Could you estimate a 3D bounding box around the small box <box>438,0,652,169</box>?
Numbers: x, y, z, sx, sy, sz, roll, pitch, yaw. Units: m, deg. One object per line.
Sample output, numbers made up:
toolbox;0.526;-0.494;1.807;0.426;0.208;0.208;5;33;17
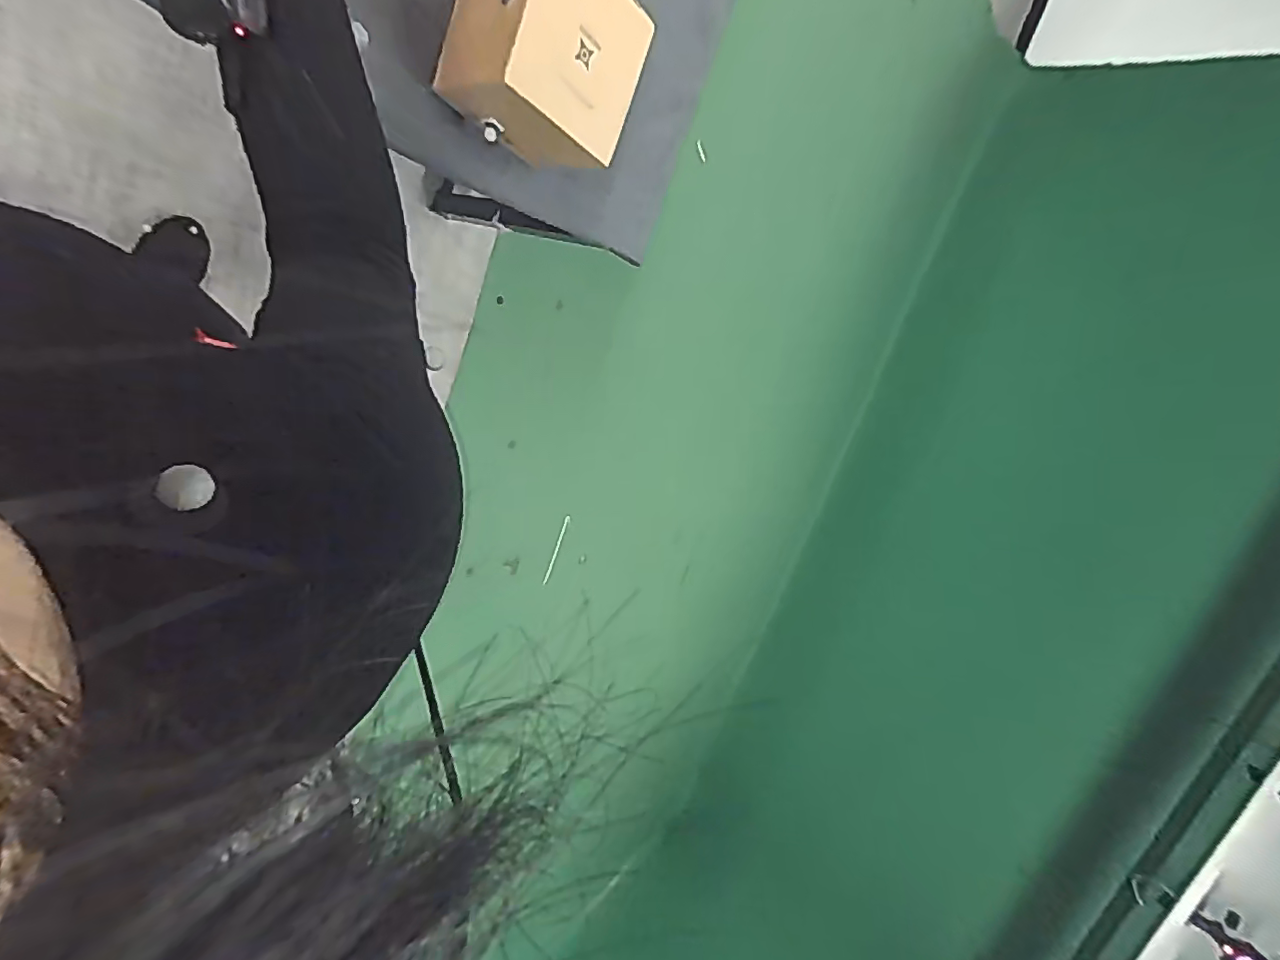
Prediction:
small box;-0.119;-0.511;0.658;0.168;0.176;0.179;9;104;-50
